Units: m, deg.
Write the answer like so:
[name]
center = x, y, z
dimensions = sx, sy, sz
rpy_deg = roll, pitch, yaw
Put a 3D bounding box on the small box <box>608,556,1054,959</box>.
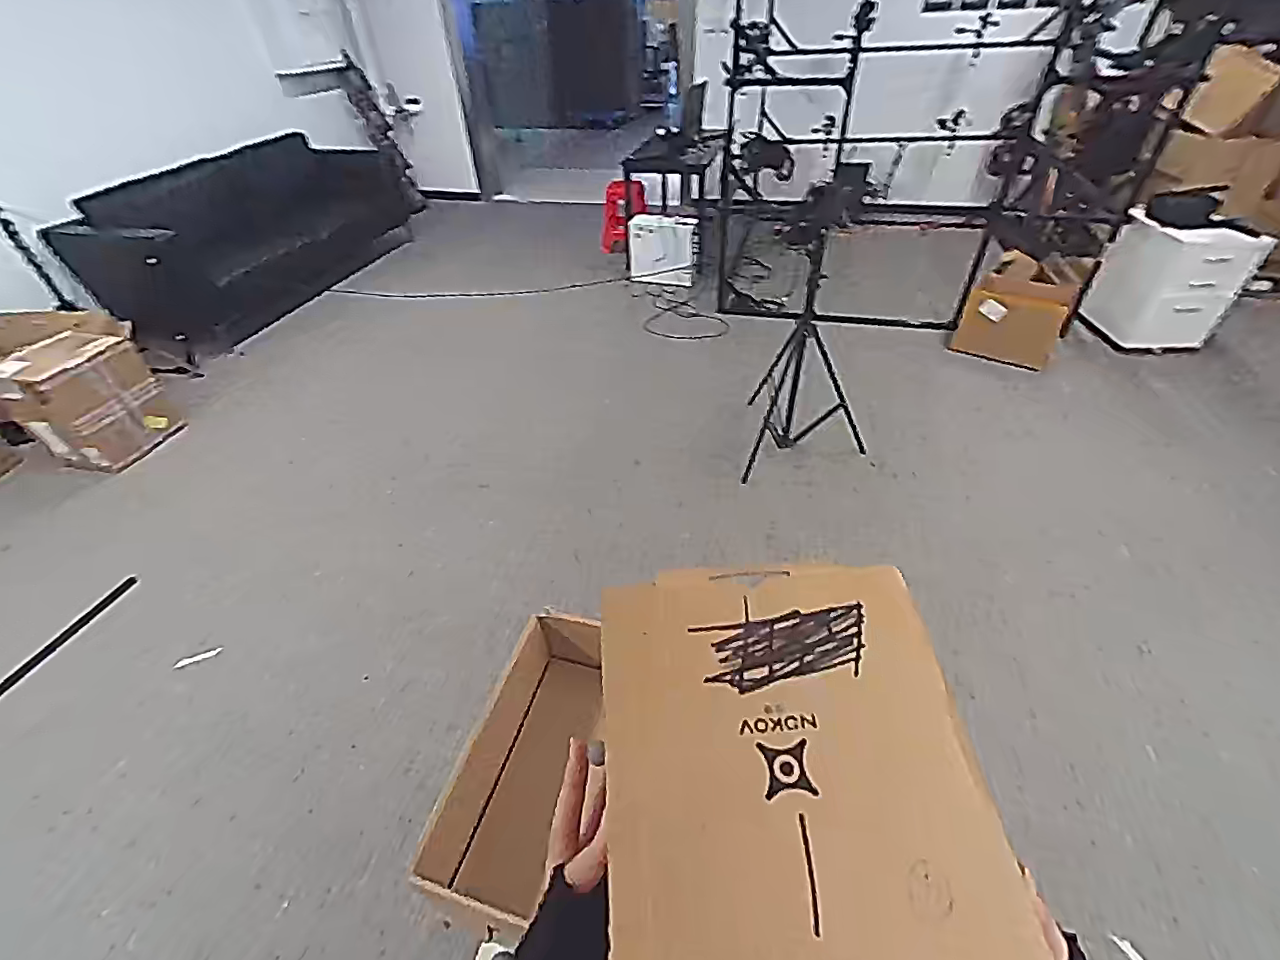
[small box]
center = 0.070, 0.166, 0.313
dimensions = 0.168, 0.176, 0.179
rpy_deg = -5, 52, -1
